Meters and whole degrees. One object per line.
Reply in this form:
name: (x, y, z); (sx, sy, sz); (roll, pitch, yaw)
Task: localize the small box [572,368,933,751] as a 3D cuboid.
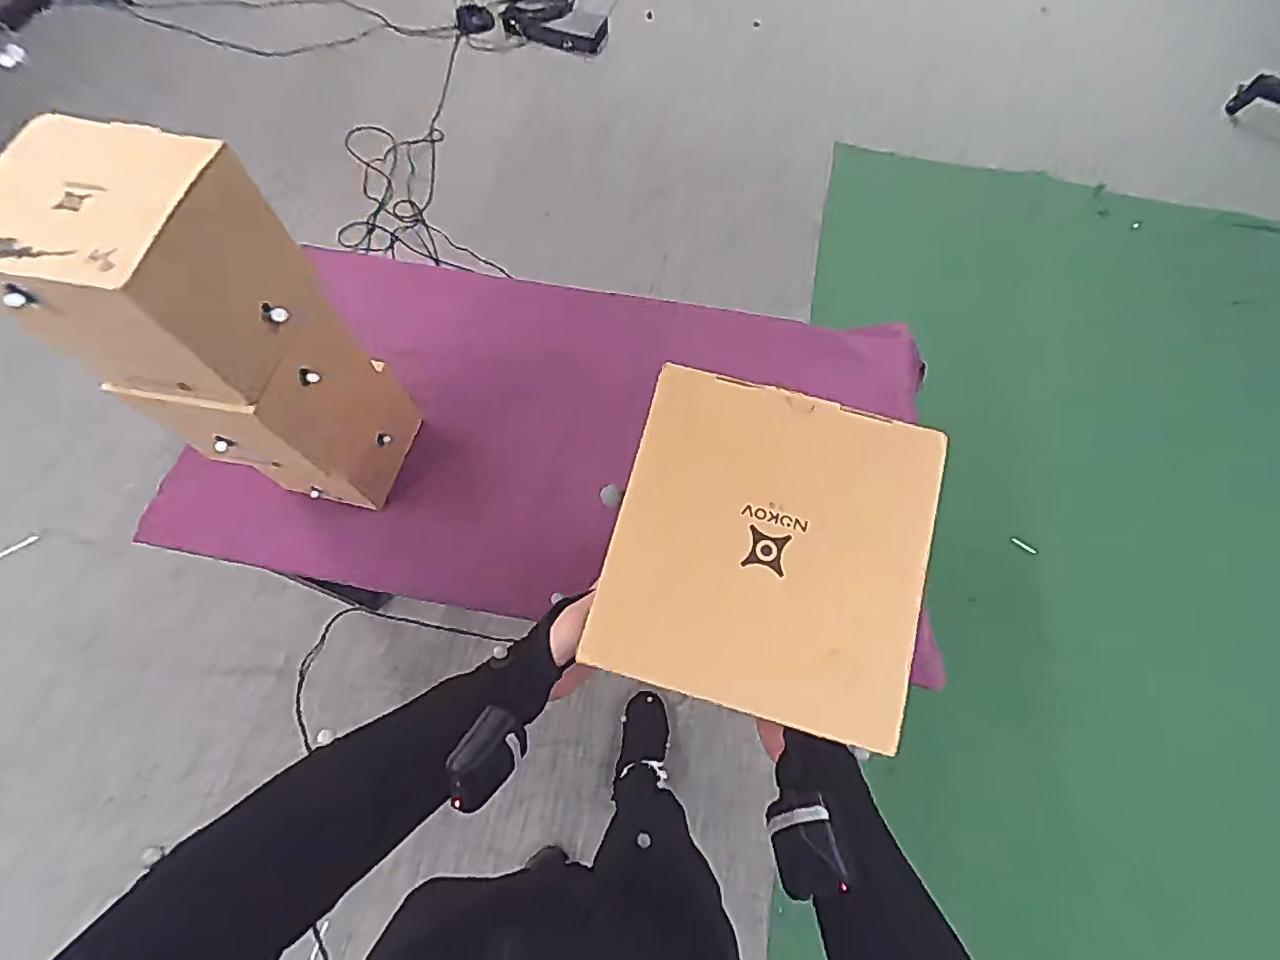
small box: (0.068, 0.054, 0.373); (0.168, 0.176, 0.179); (15, 76, 5)

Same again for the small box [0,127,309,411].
small box: (-0.460, -0.193, 0.520); (0.168, 0.176, 0.179); (9, 66, 2)

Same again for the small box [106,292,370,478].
small box: (-0.467, -0.119, 0.667); (0.168, 0.176, 0.179); (10, 66, 2)
